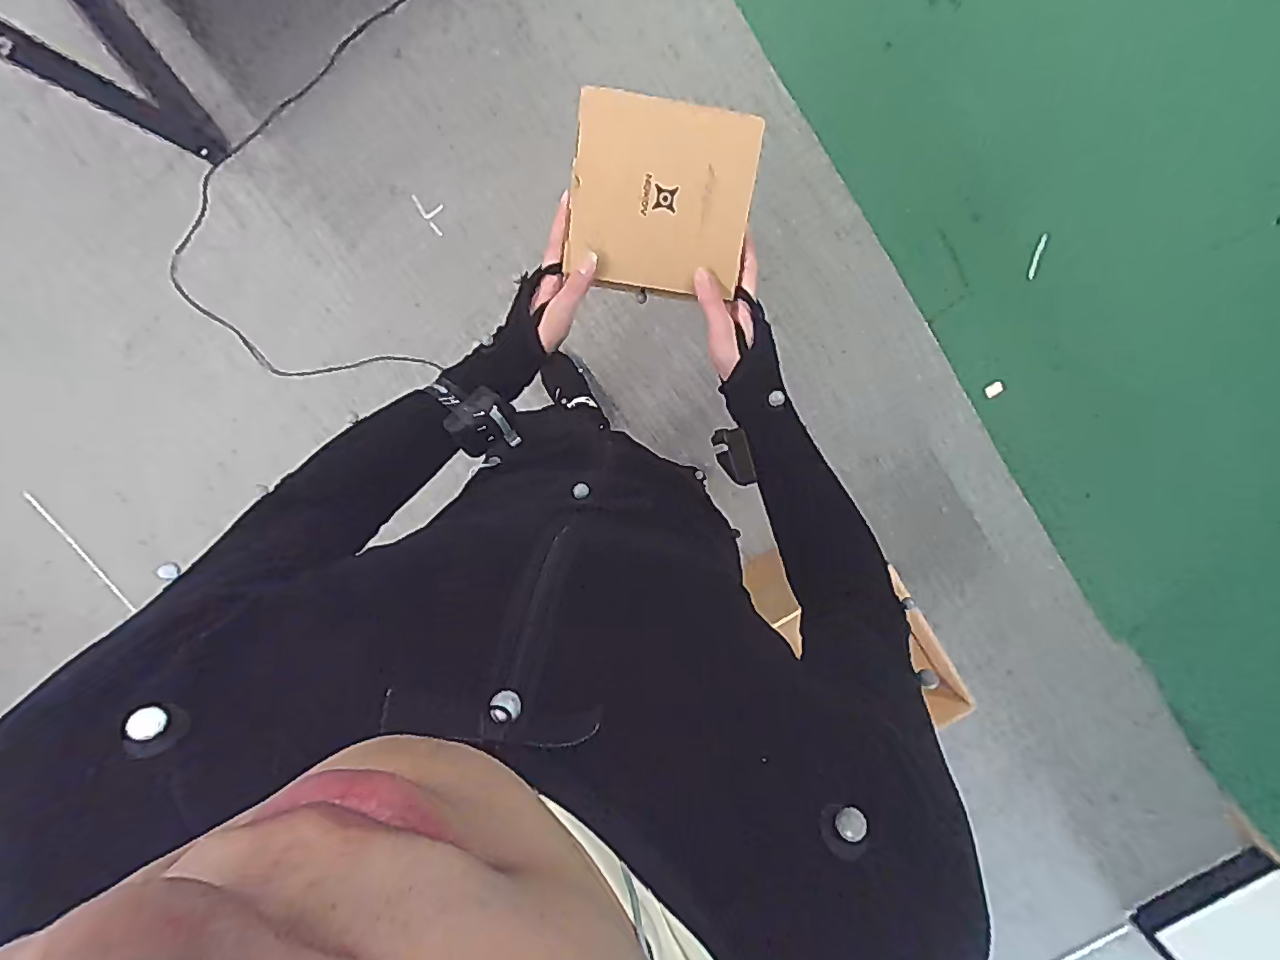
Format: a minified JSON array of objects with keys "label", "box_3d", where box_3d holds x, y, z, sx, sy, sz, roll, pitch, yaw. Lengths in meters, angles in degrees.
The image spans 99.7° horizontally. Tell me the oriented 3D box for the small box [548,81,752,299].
[{"label":"small box","box_3d":[0.004,-0.296,0.593,0.179,0.176,0.168,7,106,-4]}]
